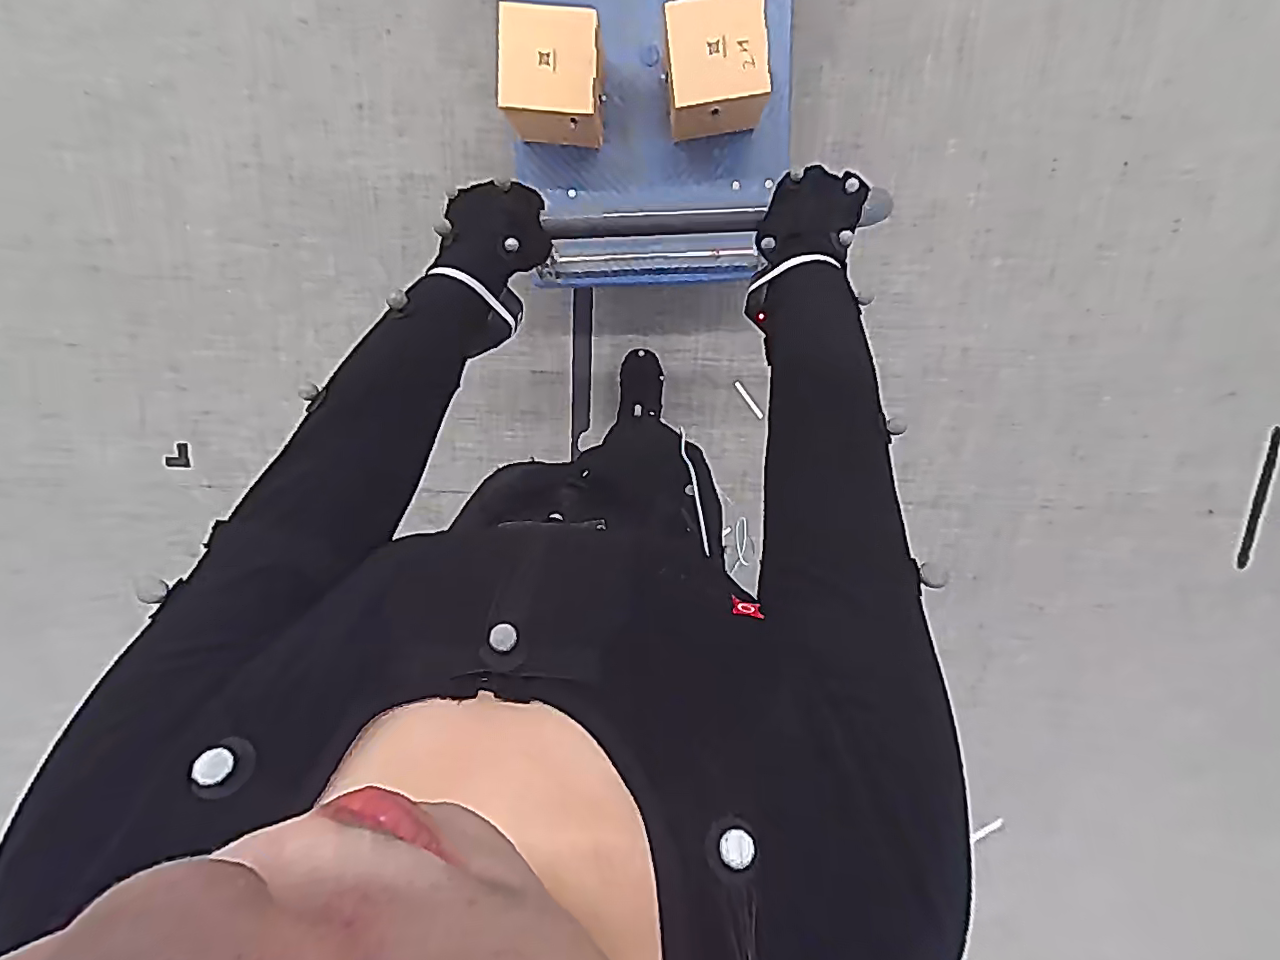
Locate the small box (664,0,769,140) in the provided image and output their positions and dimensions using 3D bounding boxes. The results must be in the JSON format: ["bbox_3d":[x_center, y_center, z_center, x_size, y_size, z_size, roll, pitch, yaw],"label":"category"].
[{"bbox_3d":[0.141,-0.778,1.037,0.179,0.176,0.168,-7,104,3],"label":"small box"}]

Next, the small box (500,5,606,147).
[{"bbox_3d":[-0.162,-0.769,1.047,0.179,0.176,0.168,4,104,-1],"label":"small box"}]
